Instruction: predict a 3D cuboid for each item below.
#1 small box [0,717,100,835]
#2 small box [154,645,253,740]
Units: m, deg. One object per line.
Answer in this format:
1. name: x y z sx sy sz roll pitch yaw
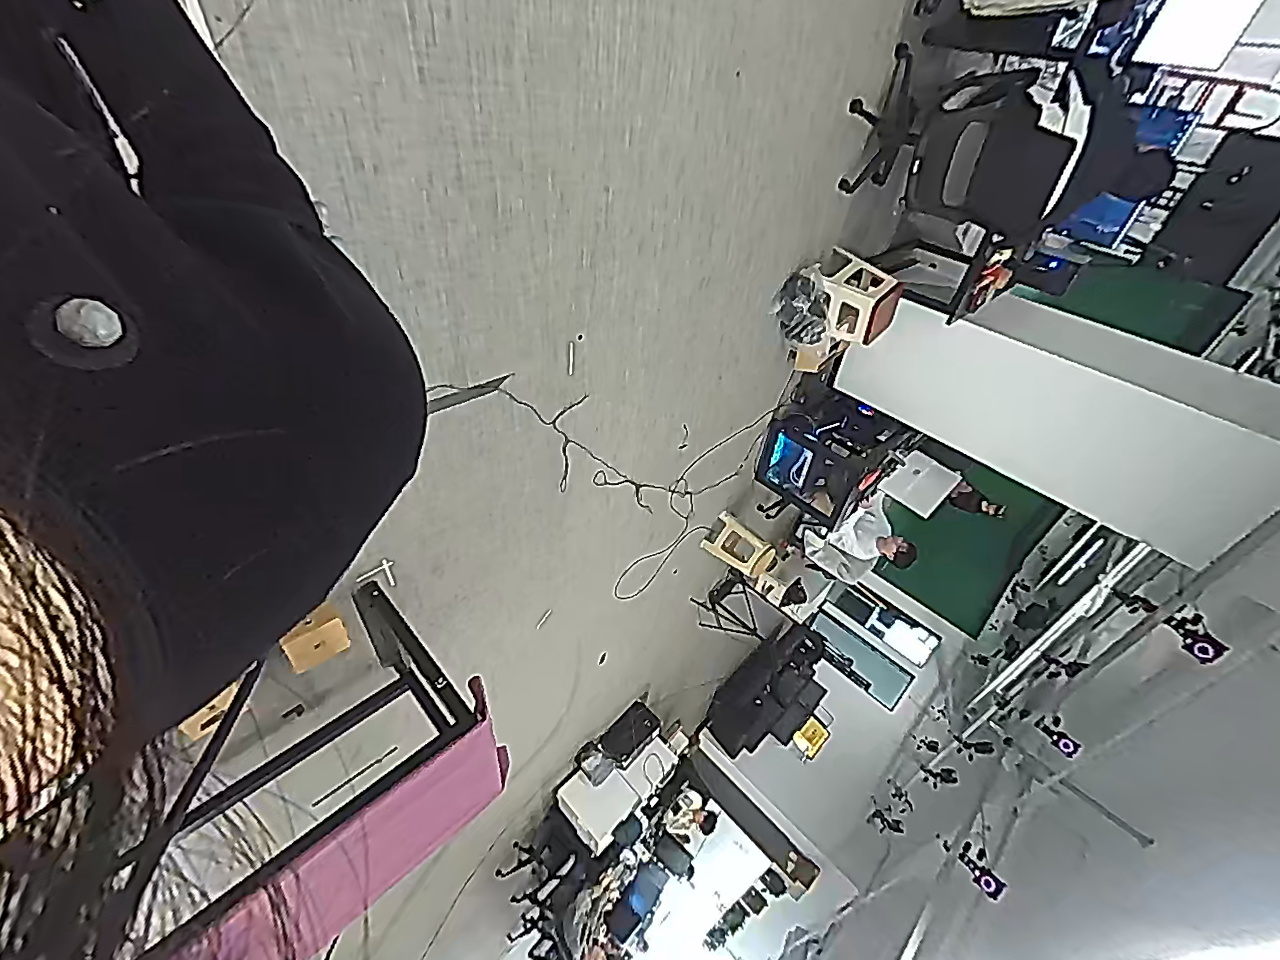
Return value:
1. small box: -1.576 0.772 1.427 0.179 0.176 0.168 -16 133 -49
2. small box: -1.325 0.639 1.643 0.168 0.176 0.179 -31 143 -35
